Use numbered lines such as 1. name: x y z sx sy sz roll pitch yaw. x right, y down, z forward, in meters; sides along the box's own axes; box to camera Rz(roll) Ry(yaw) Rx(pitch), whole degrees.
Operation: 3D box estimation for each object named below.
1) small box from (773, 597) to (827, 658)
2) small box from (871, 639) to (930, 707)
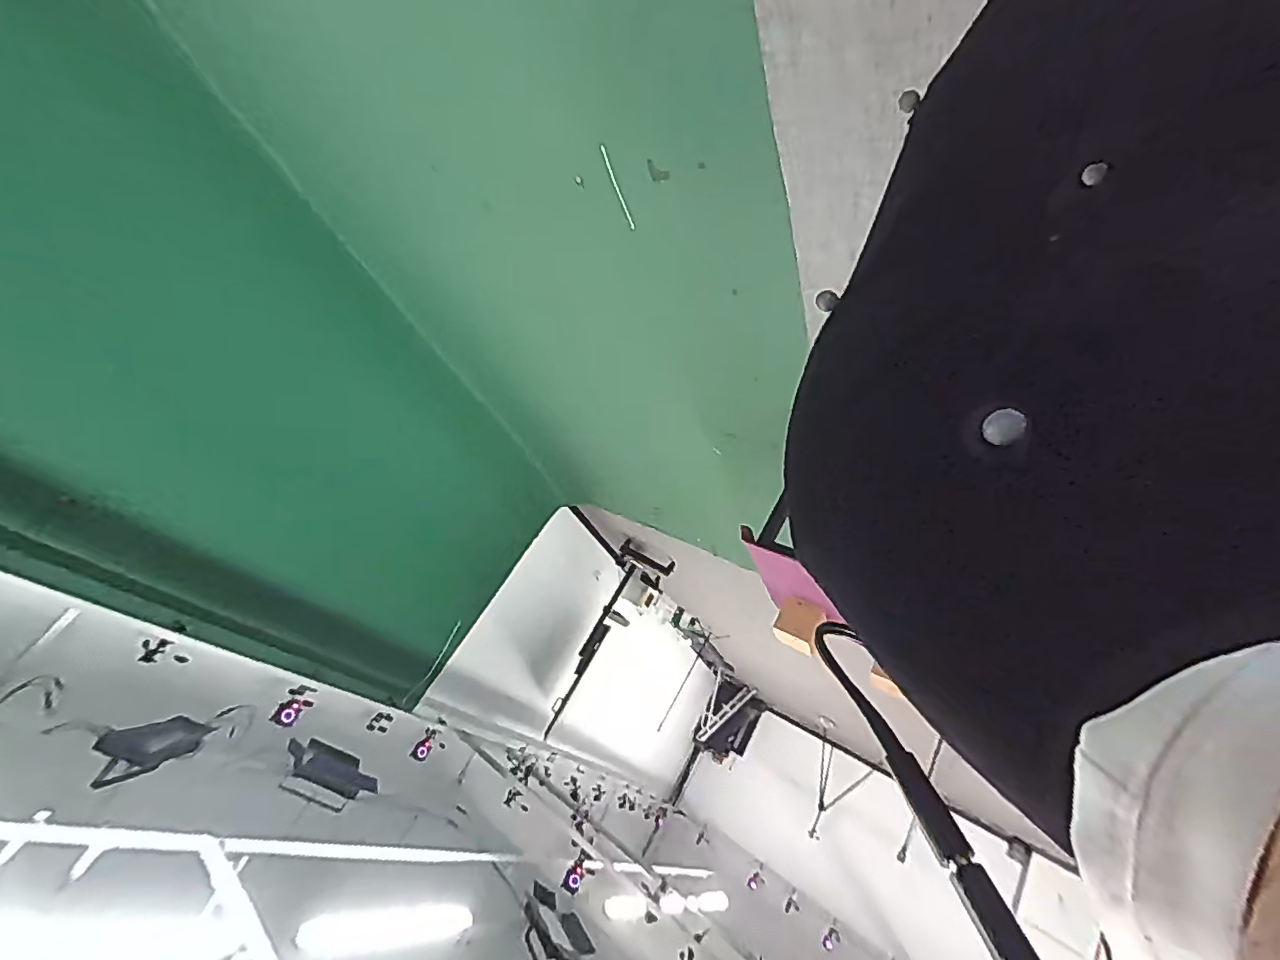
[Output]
1. small box: 0.699 0.637 2.344 0.168 0.176 0.179 18 155 33
2. small box: 1.025 0.753 2.121 0.168 0.176 0.179 17 153 36
